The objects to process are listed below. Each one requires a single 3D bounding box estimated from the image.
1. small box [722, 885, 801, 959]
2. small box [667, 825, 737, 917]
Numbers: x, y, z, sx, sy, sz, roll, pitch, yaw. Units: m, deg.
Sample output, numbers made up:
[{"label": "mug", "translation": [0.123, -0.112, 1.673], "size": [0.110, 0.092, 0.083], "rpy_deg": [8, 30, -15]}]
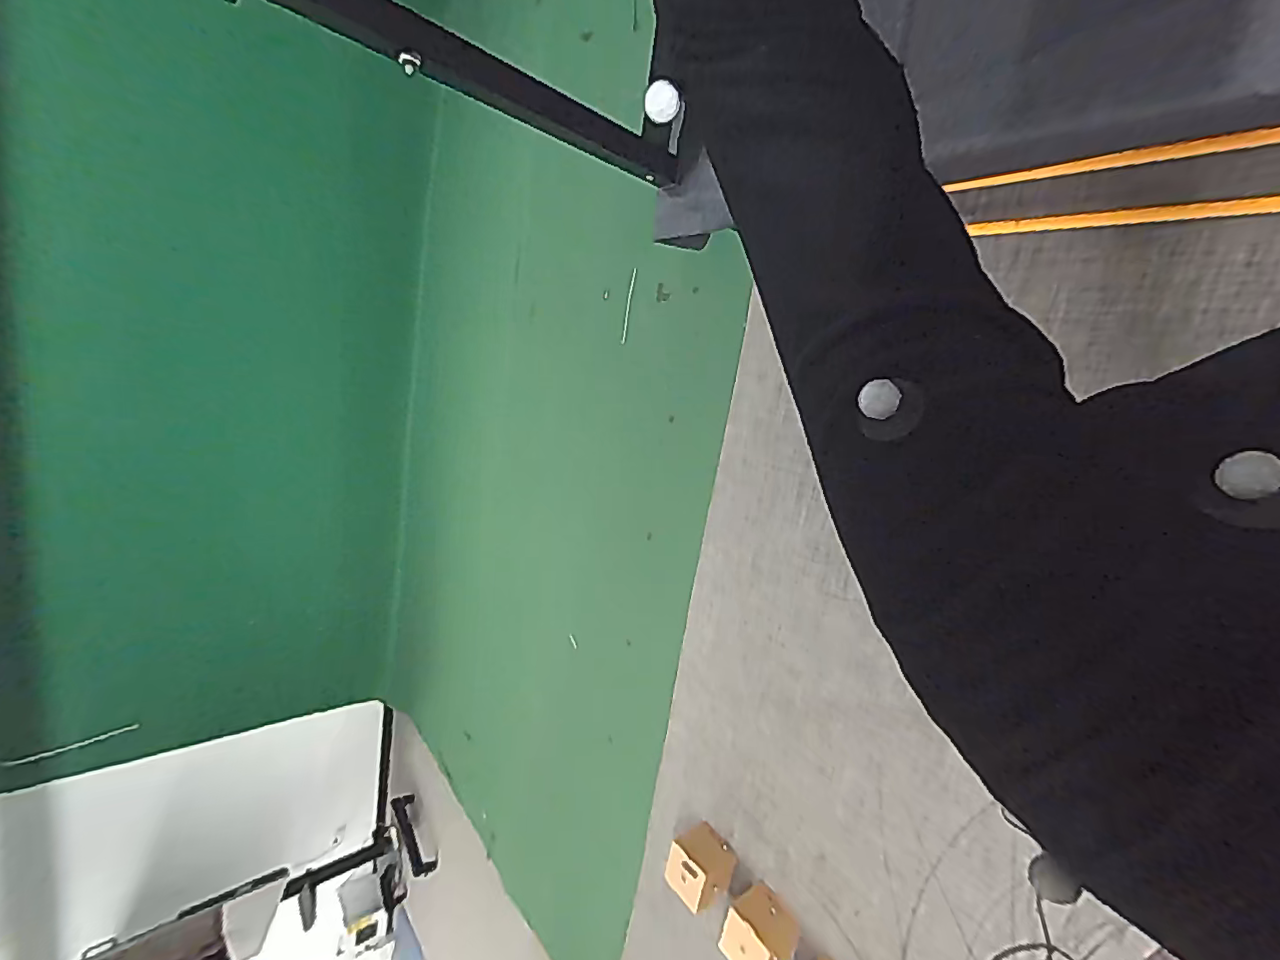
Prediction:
[{"label": "small box", "translation": [0.395, 1.477, 1.747], "size": [0.168, 0.176, 0.179], "rpy_deg": [24, 108, 46]}, {"label": "small box", "translation": [0.226, 1.390, 1.937], "size": [0.168, 0.176, 0.179], "rpy_deg": [24, 108, 46]}]
